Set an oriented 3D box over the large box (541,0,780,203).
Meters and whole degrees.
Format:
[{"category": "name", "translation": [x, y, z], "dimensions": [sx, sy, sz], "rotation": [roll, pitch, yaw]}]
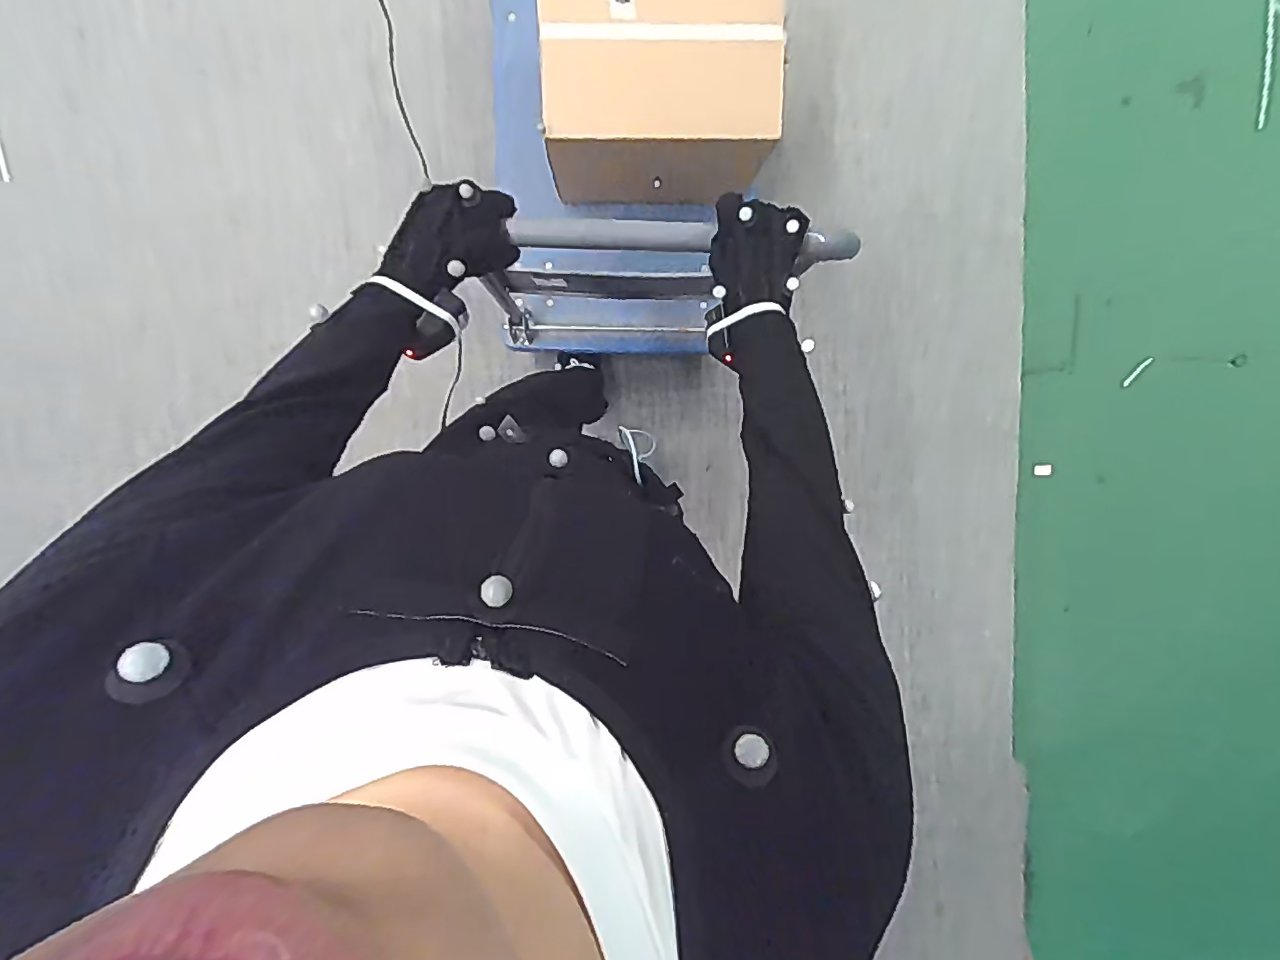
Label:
[{"category": "large box", "translation": [0.035, -0.751, 1.047], "dimensions": [0.408, 0.320, 0.320], "rotation": [-1, 98, -1]}]
